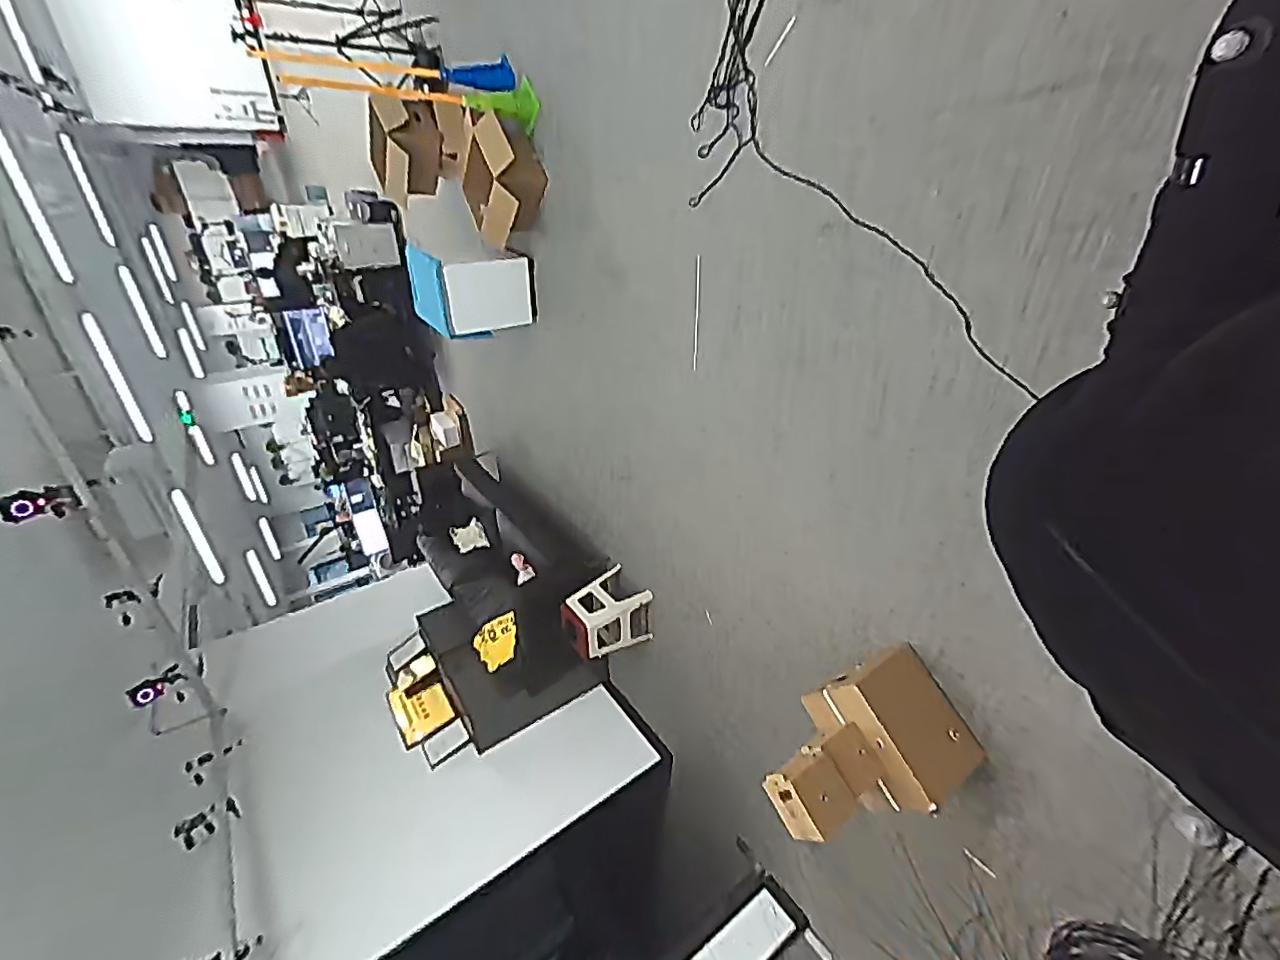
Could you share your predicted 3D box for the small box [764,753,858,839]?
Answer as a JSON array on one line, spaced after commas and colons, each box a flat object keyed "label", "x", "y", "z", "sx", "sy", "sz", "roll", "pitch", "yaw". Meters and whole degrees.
[{"label": "small box", "x": 0.522, "y": 0.958, "z": 1.654, "sx": 0.179, "sy": 0.176, "sz": 0.168, "roll": 58, "pitch": 148, "yaw": 17}]

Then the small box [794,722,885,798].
[{"label": "small box", "x": 0.646, "y": 0.910, "z": 1.753, "sx": 0.179, "sy": 0.176, "sz": 0.168, "roll": 58, "pitch": 148, "yaw": 21}]
